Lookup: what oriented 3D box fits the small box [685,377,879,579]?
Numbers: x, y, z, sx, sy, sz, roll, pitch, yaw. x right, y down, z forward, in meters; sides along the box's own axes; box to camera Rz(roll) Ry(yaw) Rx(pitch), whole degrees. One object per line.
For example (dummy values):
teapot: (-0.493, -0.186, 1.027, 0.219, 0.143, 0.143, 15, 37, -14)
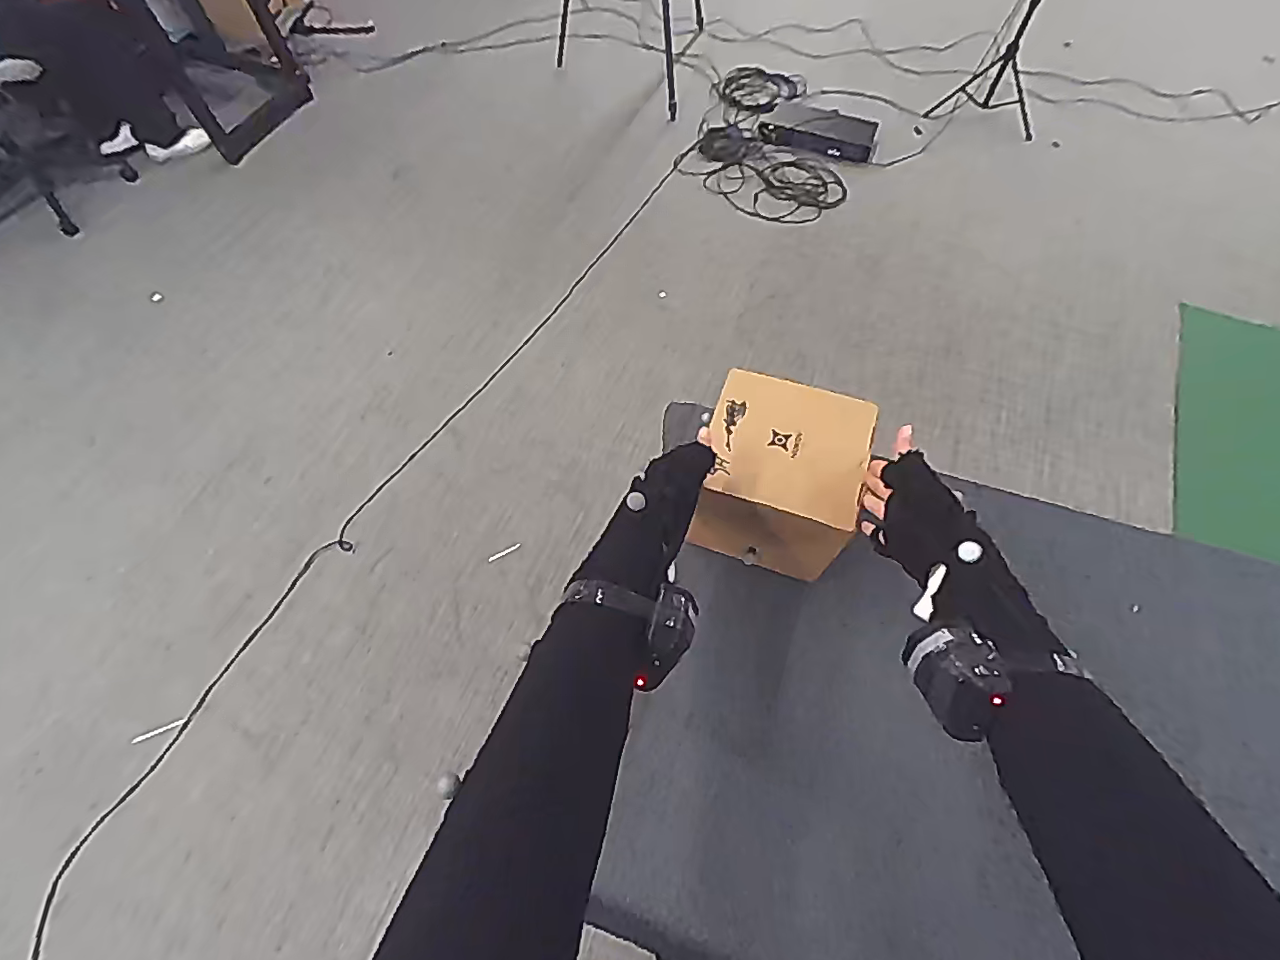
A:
small box: (0.164, 0.006, 0.665, 0.179, 0.176, 0.168, 18, 64, 11)
